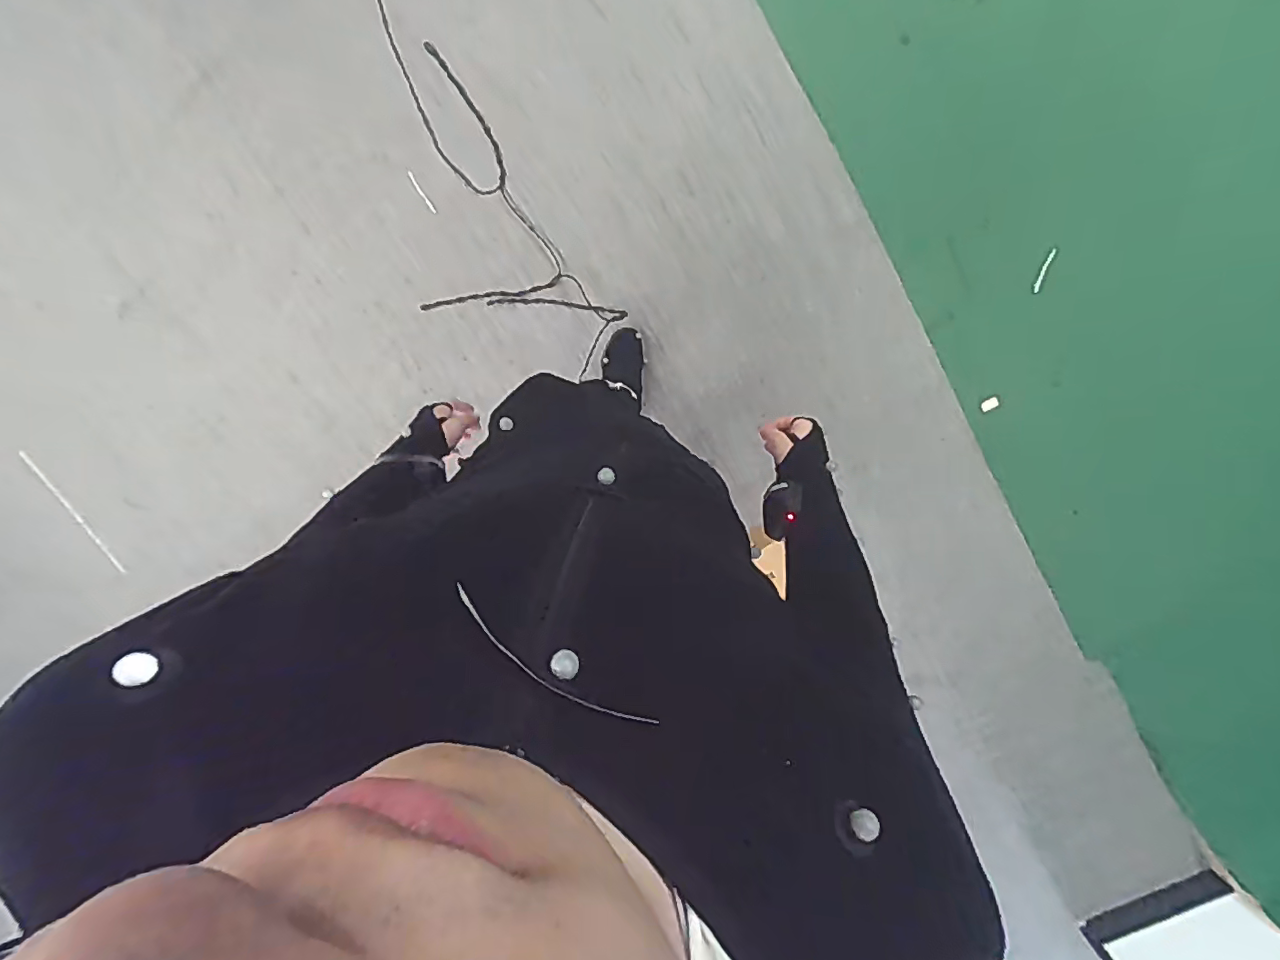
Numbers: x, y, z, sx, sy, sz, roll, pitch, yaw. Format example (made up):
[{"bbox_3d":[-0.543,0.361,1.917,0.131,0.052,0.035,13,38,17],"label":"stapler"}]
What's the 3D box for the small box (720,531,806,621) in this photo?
[{"bbox_3d":[0.352,0.273,1.586,0.179,0.176,0.168,-31,98,8],"label":"small box"}]
